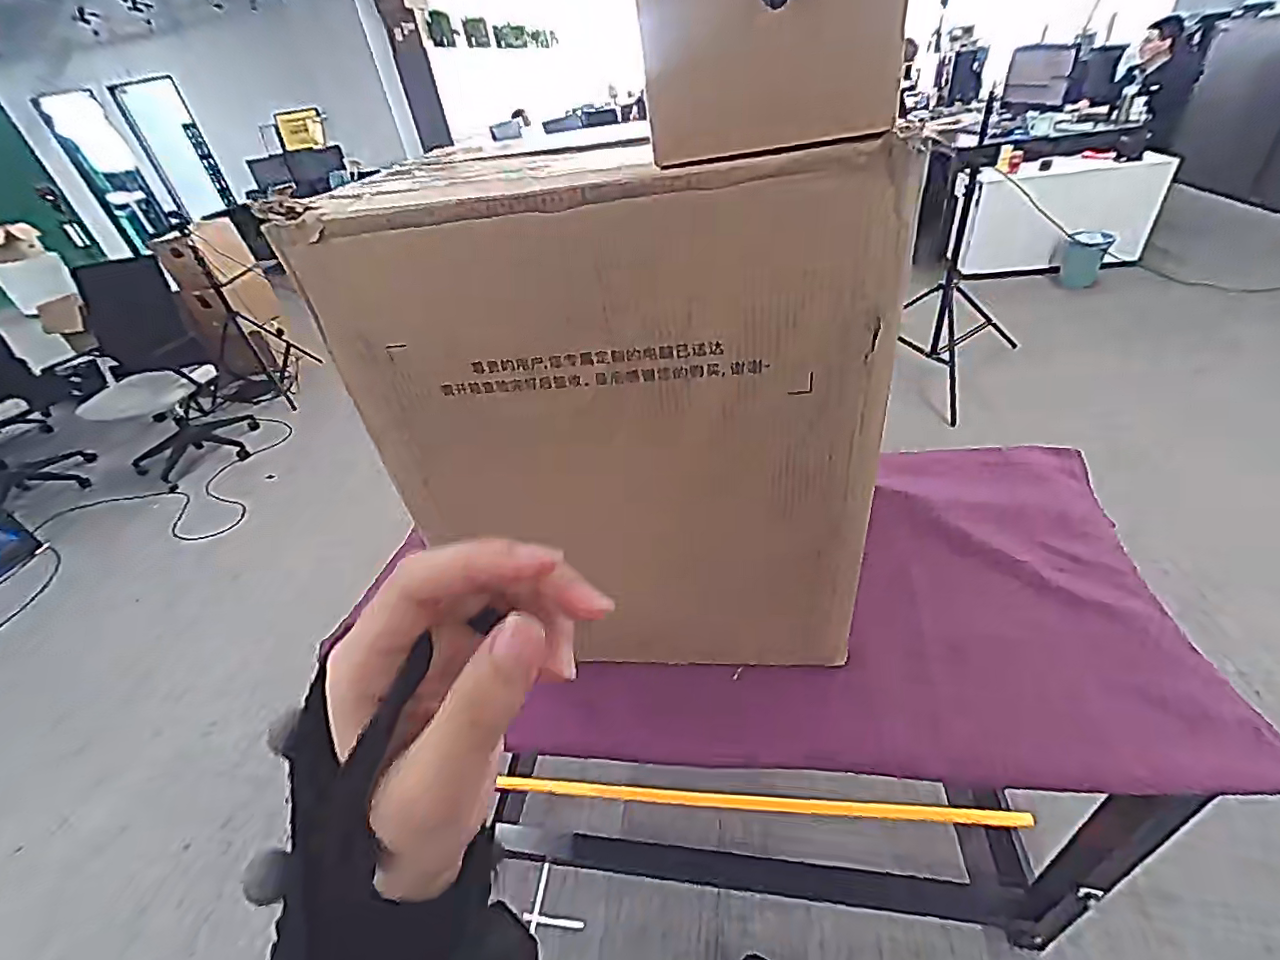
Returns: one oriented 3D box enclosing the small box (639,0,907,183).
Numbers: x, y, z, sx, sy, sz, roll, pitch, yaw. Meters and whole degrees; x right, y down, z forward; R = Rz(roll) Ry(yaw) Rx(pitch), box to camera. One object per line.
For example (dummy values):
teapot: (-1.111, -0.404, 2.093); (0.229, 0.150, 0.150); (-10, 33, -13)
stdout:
small box: (0.093, -0.340, 0.399); (0.168, 0.176, 0.179); (-1, 39, 13)
